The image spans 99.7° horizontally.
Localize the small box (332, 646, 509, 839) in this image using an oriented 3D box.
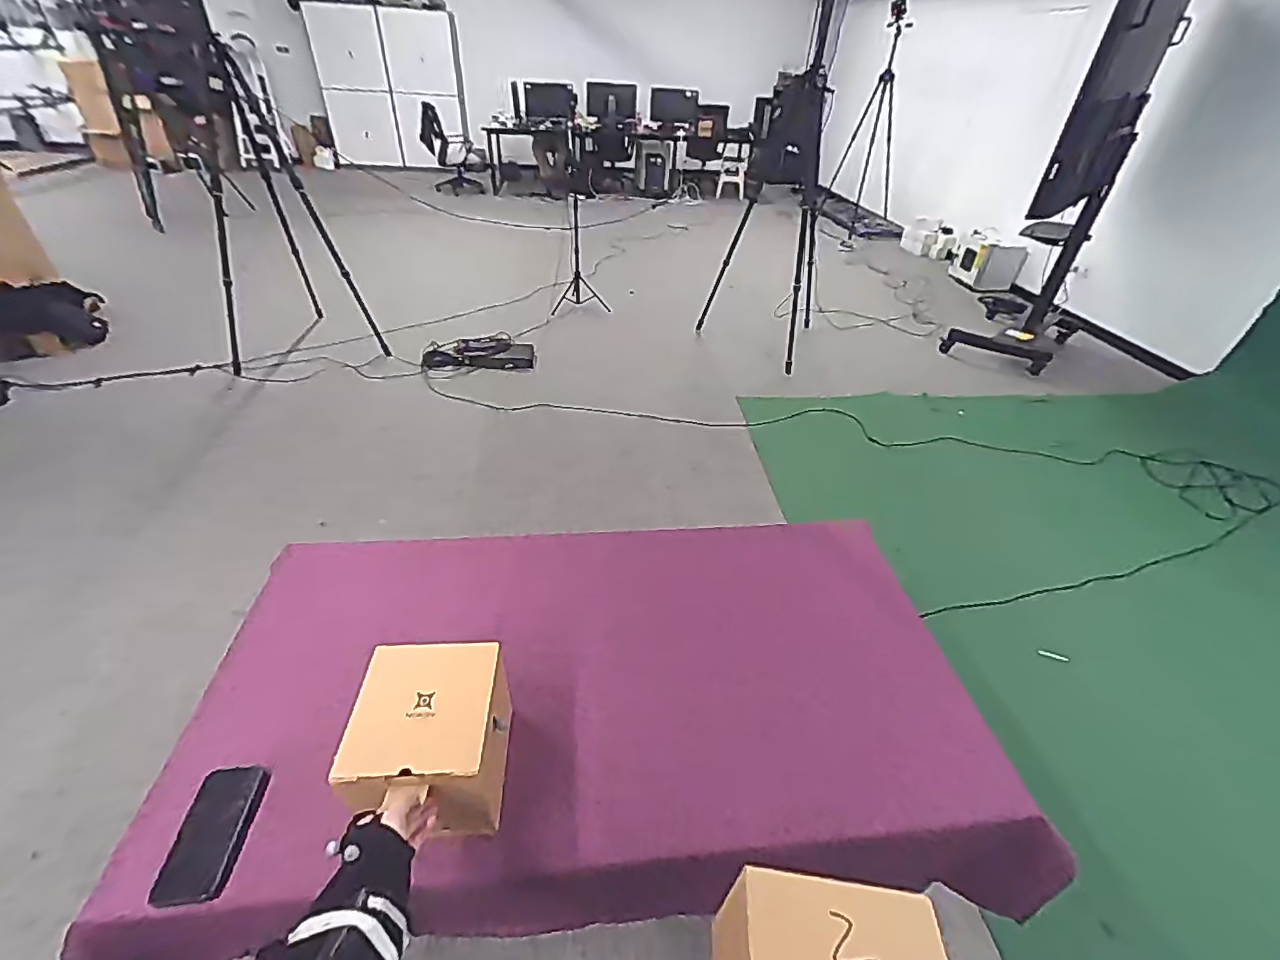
[{"bbox_3d":[-0.269,0.342,0.713,0.168,0.176,0.179,1,38,-5],"label":"small box"}]
